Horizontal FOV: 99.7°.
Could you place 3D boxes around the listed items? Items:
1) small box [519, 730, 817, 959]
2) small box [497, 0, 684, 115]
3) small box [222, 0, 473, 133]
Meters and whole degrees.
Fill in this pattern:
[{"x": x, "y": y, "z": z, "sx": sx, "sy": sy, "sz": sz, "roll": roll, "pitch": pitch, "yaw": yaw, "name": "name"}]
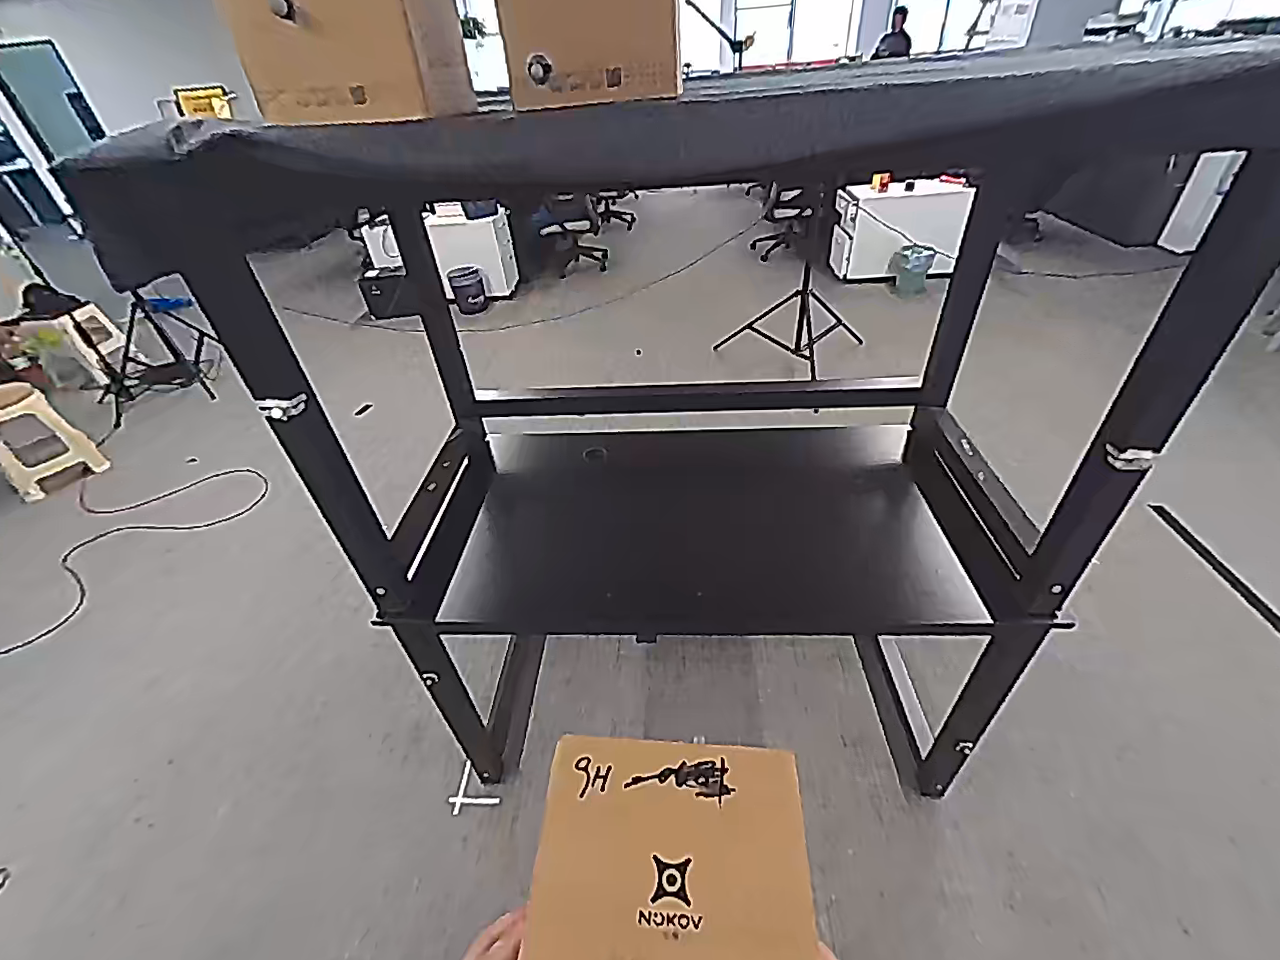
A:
[{"x": 0.021, "y": 0.295, "z": 0.371, "sx": 0.168, "sy": 0.176, "sz": 0.179, "roll": 3, "pitch": 47, "yaw": 4, "name": "small box"}, {"x": -0.042, "y": -0.478, "z": 0.547, "sx": 0.168, "sy": 0.176, "sz": 0.179, "roll": 0, "pitch": 36, "yaw": 6, "name": "small box"}, {"x": -0.285, "y": -0.457, "z": 0.548, "sx": 0.168, "sy": 0.176, "sz": 0.179, "roll": -1, "pitch": 36, "yaw": 4, "name": "small box"}]
